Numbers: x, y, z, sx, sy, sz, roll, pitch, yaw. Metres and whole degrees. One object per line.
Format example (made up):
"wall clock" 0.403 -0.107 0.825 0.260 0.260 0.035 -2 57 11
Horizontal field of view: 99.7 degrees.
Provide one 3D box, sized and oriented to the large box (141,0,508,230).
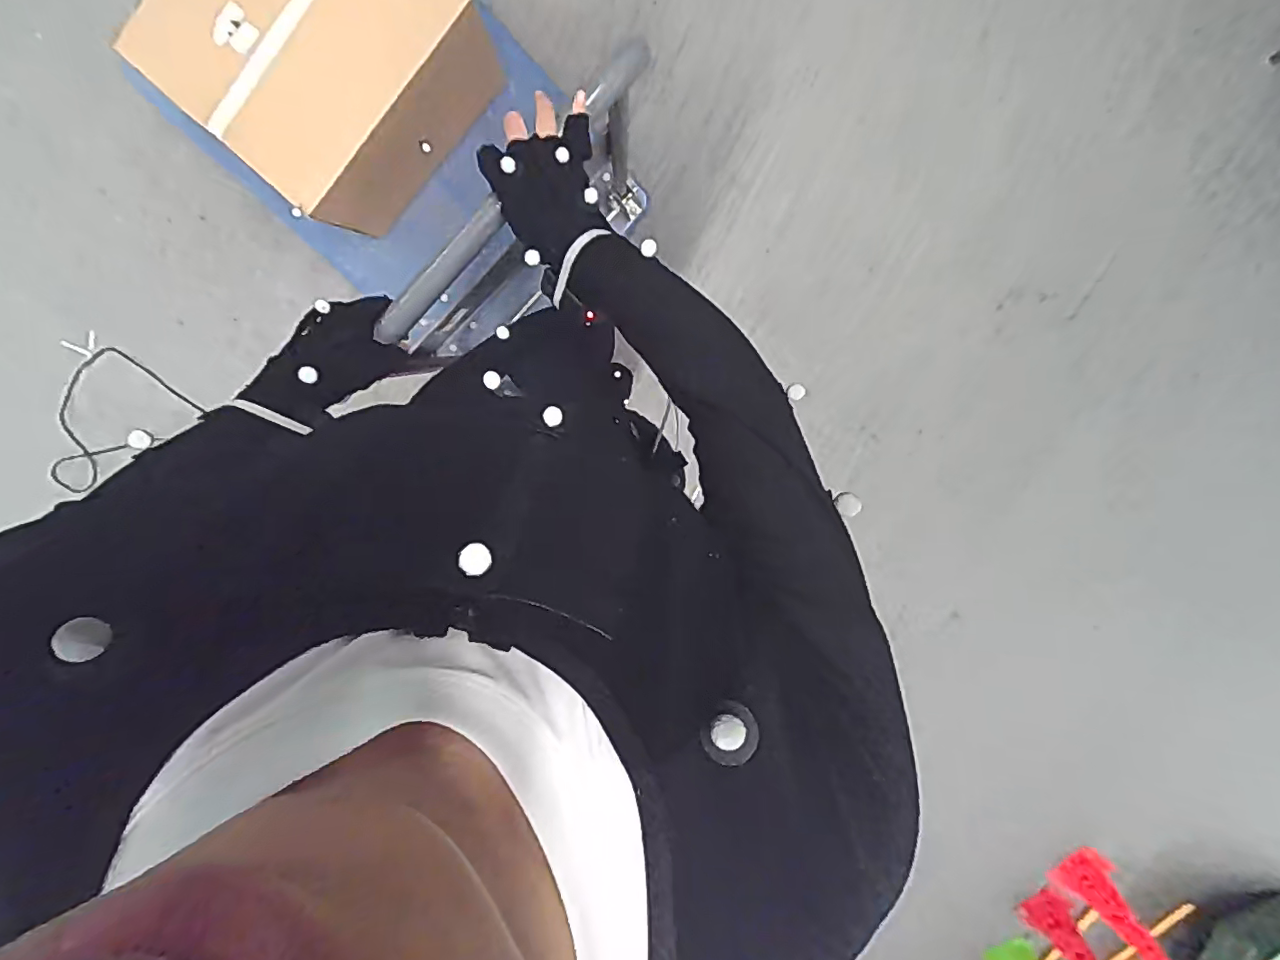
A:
"large box" -0.482 -0.704 0.914 0.320 0.320 0.408 42 101 -15
